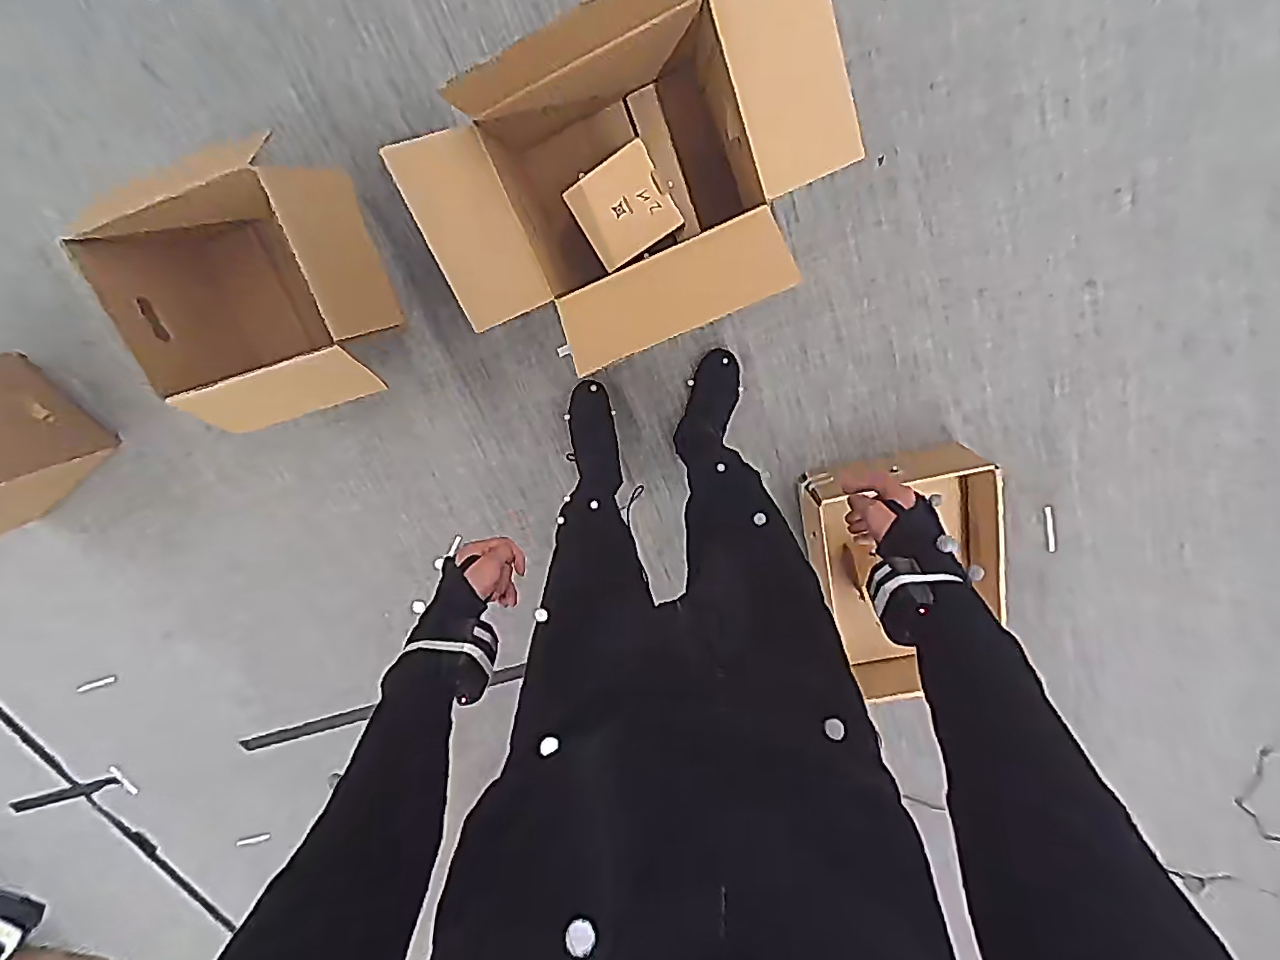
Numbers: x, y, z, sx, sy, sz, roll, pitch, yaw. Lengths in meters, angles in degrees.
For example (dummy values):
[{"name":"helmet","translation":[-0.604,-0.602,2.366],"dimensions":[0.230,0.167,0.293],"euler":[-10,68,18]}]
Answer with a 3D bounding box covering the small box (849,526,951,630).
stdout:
[{"name":"small box","translation":[0.631,0.237,1.336],"dimensions":[0.179,0.176,0.168],"euler":[-17,112,10]}]
